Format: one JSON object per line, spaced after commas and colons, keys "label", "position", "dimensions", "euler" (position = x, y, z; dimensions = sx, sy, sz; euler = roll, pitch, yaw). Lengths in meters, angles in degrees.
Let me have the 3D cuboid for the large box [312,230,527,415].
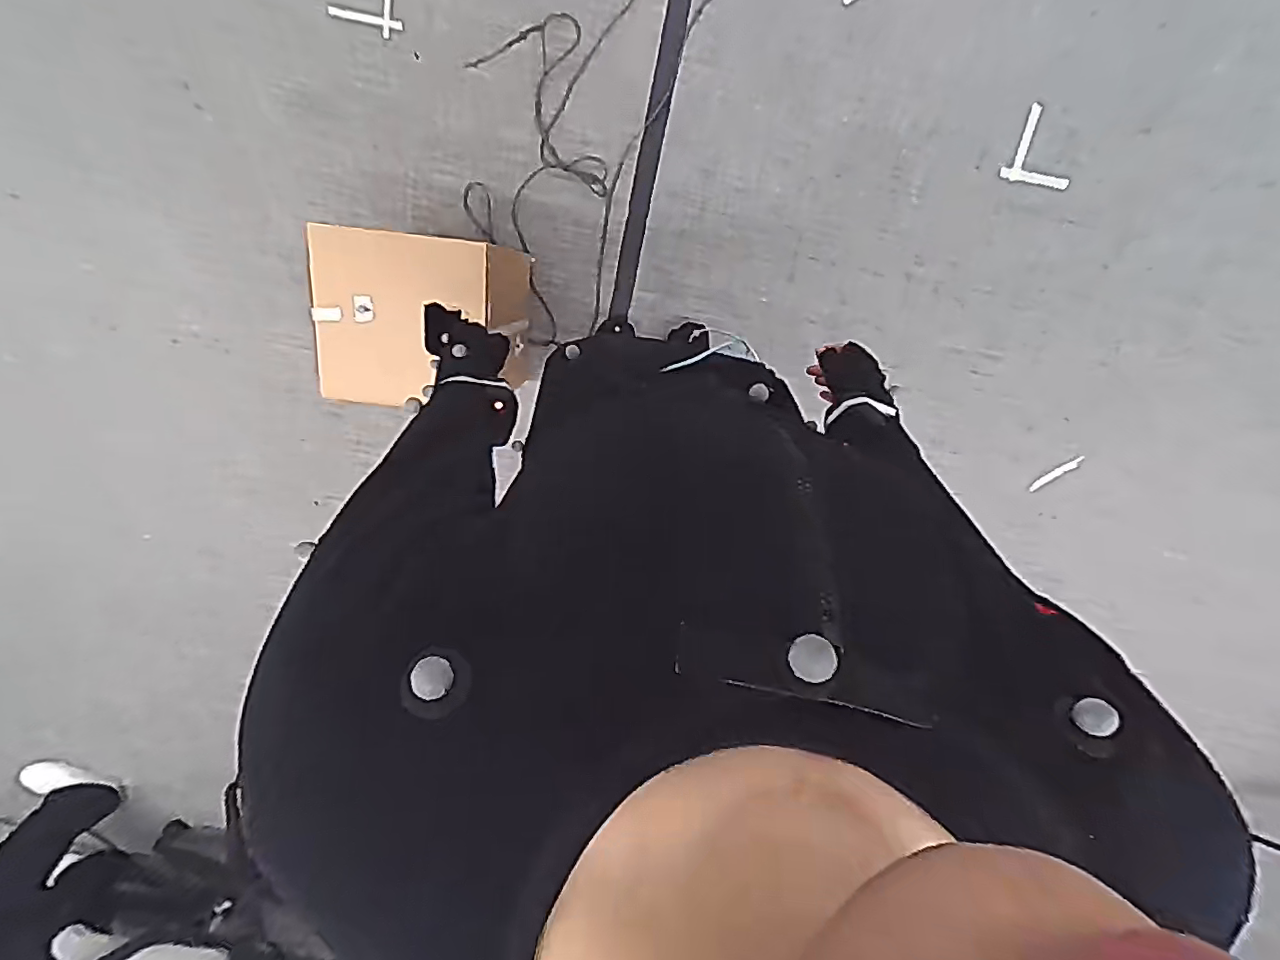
{"label": "large box", "position": [-0.442, -0.352, 1.178], "dimensions": [0.320, 0.408, 0.320], "euler": [7, 110, -3]}
